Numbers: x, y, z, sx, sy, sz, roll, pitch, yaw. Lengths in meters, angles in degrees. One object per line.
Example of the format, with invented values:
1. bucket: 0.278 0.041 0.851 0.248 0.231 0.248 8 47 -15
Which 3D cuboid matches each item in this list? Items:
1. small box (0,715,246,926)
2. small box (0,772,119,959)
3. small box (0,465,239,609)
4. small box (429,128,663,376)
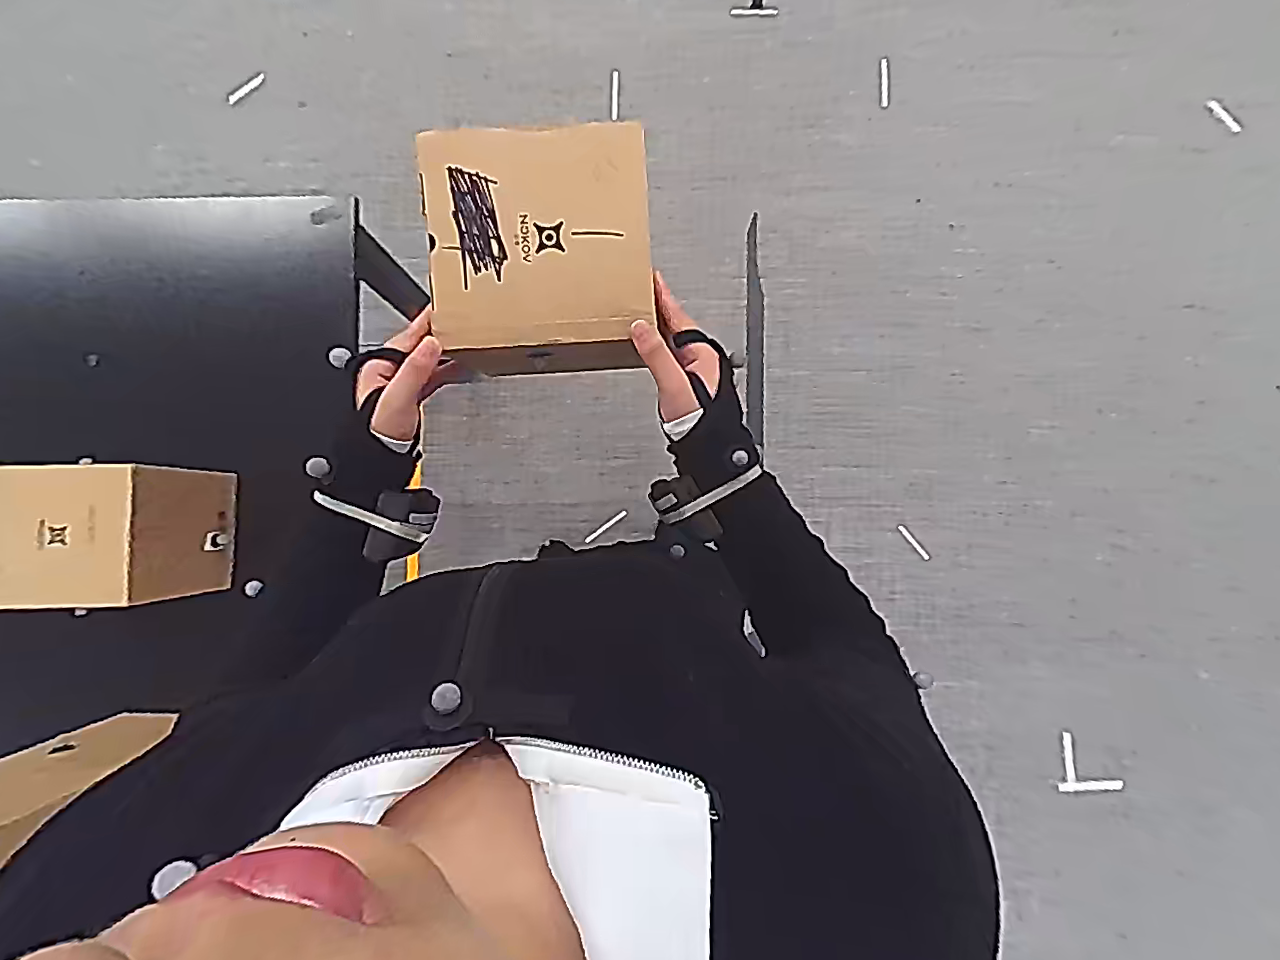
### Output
1. small box: -0.642 0.406 0.672 0.179 0.176 0.168 1 86 0
2. small box: -0.651 0.396 0.509 0.179 0.176 0.168 -2 86 -1
3. small box: -0.668 0.070 0.699 0.179 0.176 0.168 -2 87 -1
4. small box: -0.073 -0.190 0.499 0.179 0.176 0.168 -4 94 -2
